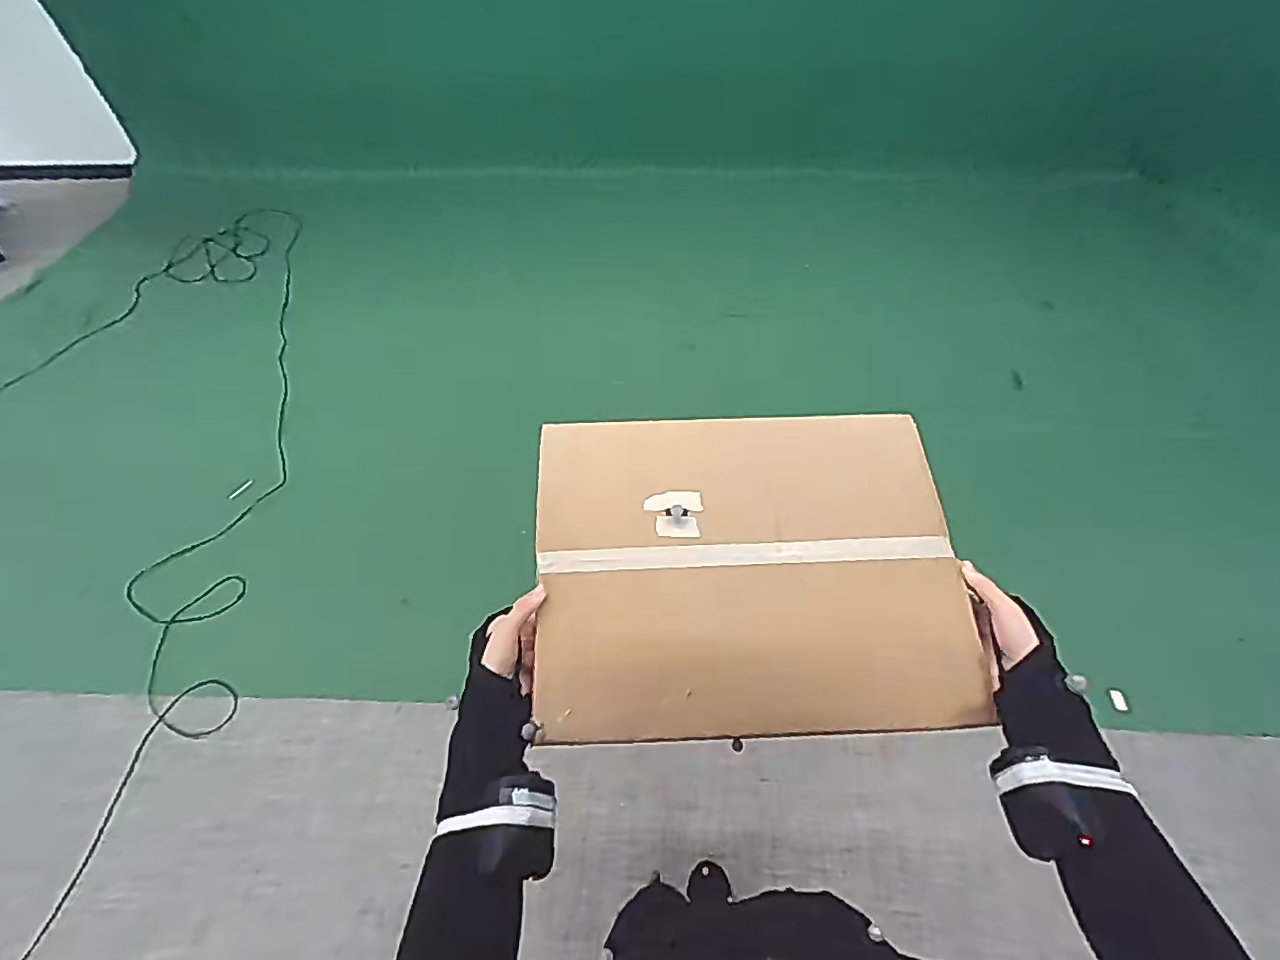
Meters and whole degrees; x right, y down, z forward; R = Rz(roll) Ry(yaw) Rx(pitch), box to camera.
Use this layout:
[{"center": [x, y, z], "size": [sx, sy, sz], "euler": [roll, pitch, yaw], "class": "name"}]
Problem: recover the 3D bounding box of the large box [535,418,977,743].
[{"center": [0.100, 0.140, 0.674], "size": [0.408, 0.320, 0.320], "euler": [-2, 65, -1], "class": "large box"}]
